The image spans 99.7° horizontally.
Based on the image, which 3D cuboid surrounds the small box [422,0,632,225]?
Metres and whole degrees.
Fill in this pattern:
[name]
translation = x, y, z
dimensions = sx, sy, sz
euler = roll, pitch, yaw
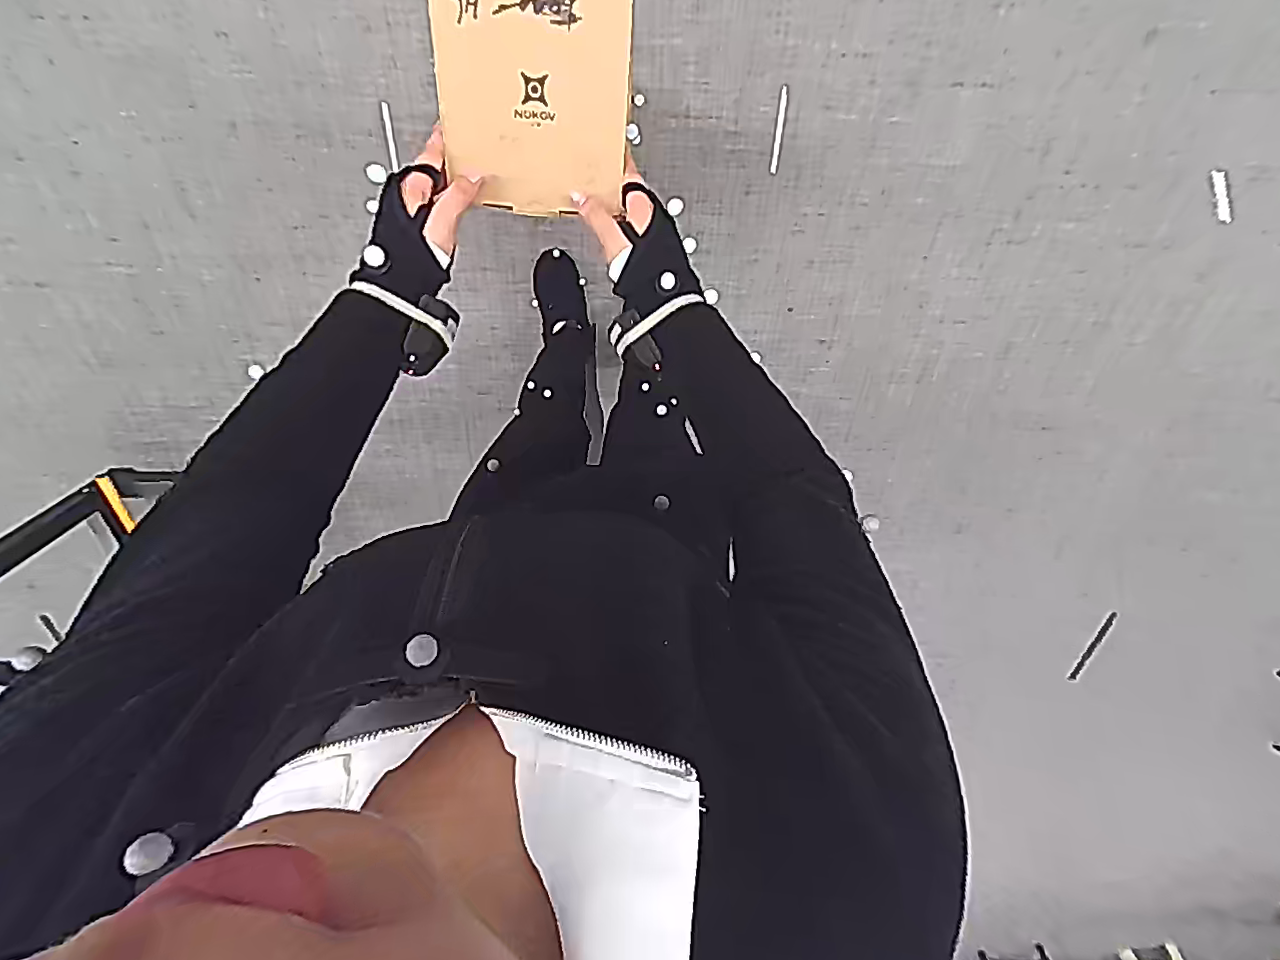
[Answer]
[small box]
translation = -0.096, -0.364, 0.526
dimensions = 0.168, 0.176, 0.179
euler = 4, 123, -4
